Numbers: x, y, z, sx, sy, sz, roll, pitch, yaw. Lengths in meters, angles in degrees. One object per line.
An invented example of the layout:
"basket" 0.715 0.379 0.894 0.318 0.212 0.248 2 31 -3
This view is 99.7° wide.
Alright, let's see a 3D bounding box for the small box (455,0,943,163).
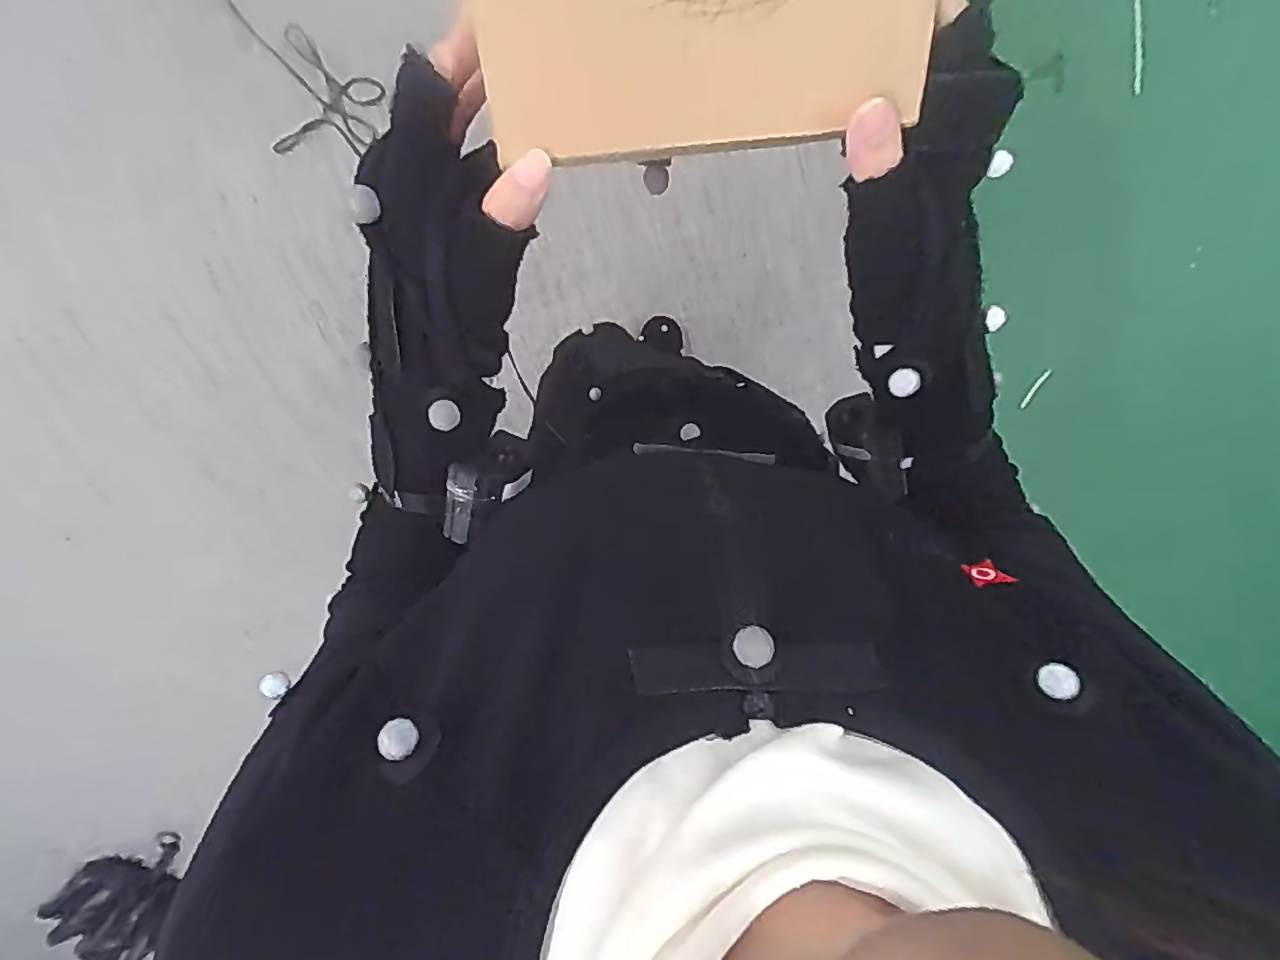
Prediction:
"small box" 0.012 -0.242 0.224 0.168 0.176 0.179 -6 120 0
